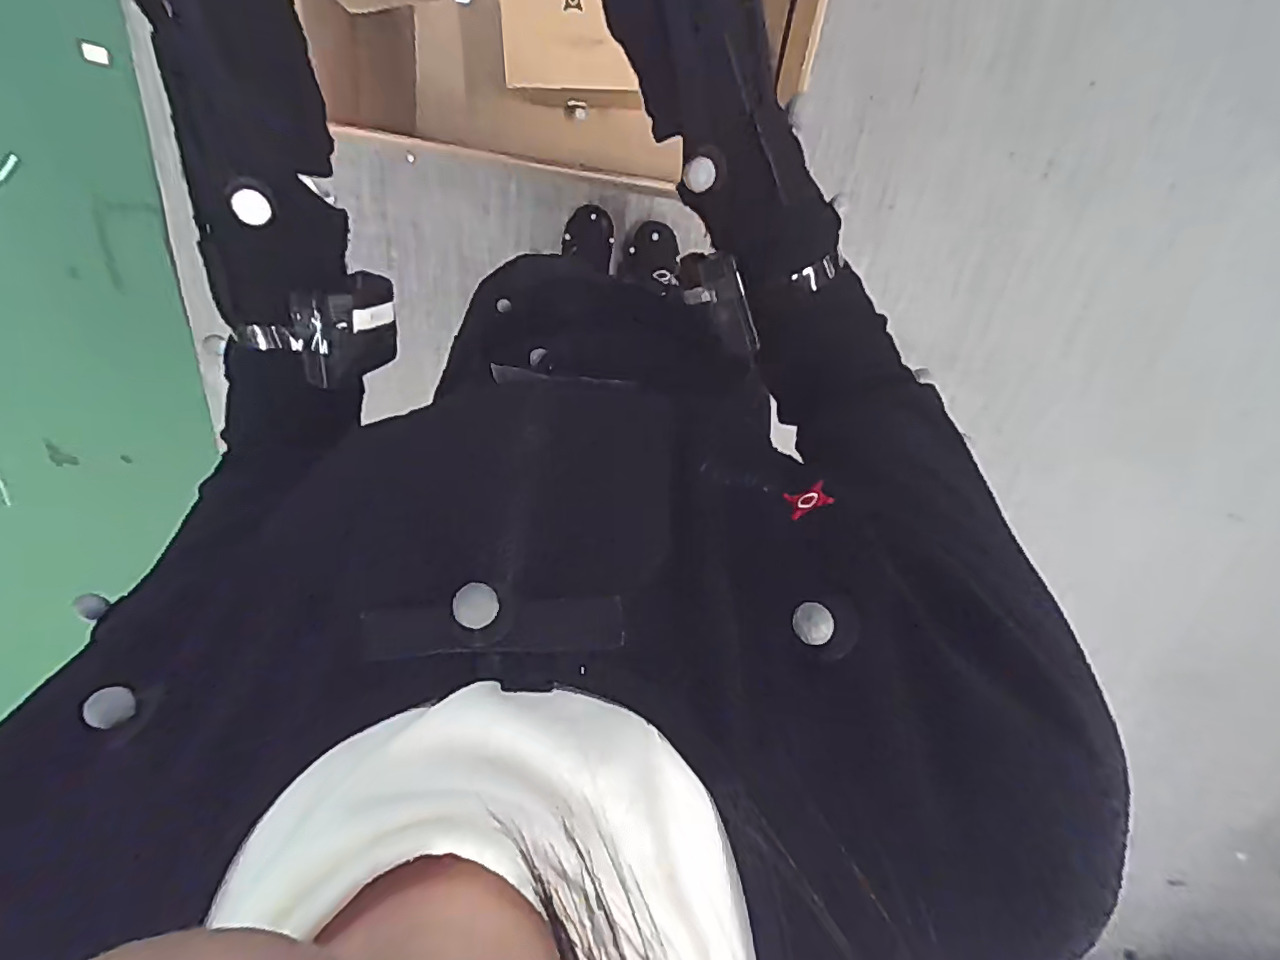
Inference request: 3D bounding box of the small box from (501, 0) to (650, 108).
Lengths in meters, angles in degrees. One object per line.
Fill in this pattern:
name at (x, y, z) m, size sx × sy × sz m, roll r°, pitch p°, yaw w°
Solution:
small box at (-0.073, -0.584, 0.675) m, size 0.168 × 0.176 × 0.179 m, roll 3°, pitch 118°, yaw 1°
